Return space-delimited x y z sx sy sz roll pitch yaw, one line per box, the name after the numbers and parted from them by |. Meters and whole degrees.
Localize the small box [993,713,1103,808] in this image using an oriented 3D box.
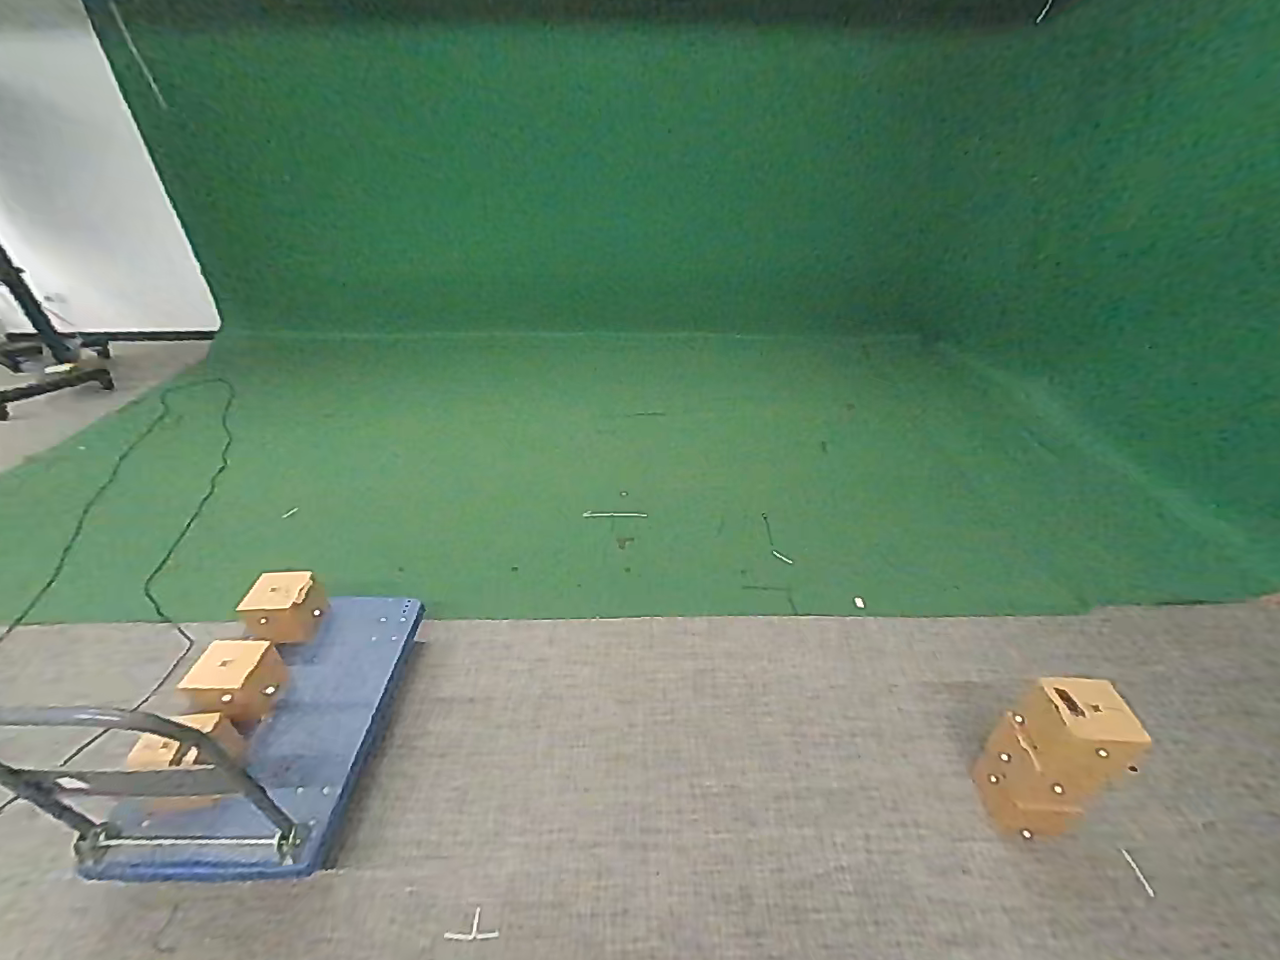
1.077 0.746 1.438 0.179 0.176 0.168 1 35 5 | small box

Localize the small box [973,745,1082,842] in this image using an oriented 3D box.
1.081 0.883 1.527 0.168 0.176 0.179 2 35 4 | small box

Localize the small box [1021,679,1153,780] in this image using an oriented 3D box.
1.084 0.616 1.336 0.179 0.176 0.168 2 35 3 | small box

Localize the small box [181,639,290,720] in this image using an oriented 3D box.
-1.198 0.597 1.615 0.179 0.176 0.168 1 35 -1 | small box

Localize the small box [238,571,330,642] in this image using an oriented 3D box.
-1.201 0.432 1.837 0.179 0.176 0.168 4 39 4 | small box
